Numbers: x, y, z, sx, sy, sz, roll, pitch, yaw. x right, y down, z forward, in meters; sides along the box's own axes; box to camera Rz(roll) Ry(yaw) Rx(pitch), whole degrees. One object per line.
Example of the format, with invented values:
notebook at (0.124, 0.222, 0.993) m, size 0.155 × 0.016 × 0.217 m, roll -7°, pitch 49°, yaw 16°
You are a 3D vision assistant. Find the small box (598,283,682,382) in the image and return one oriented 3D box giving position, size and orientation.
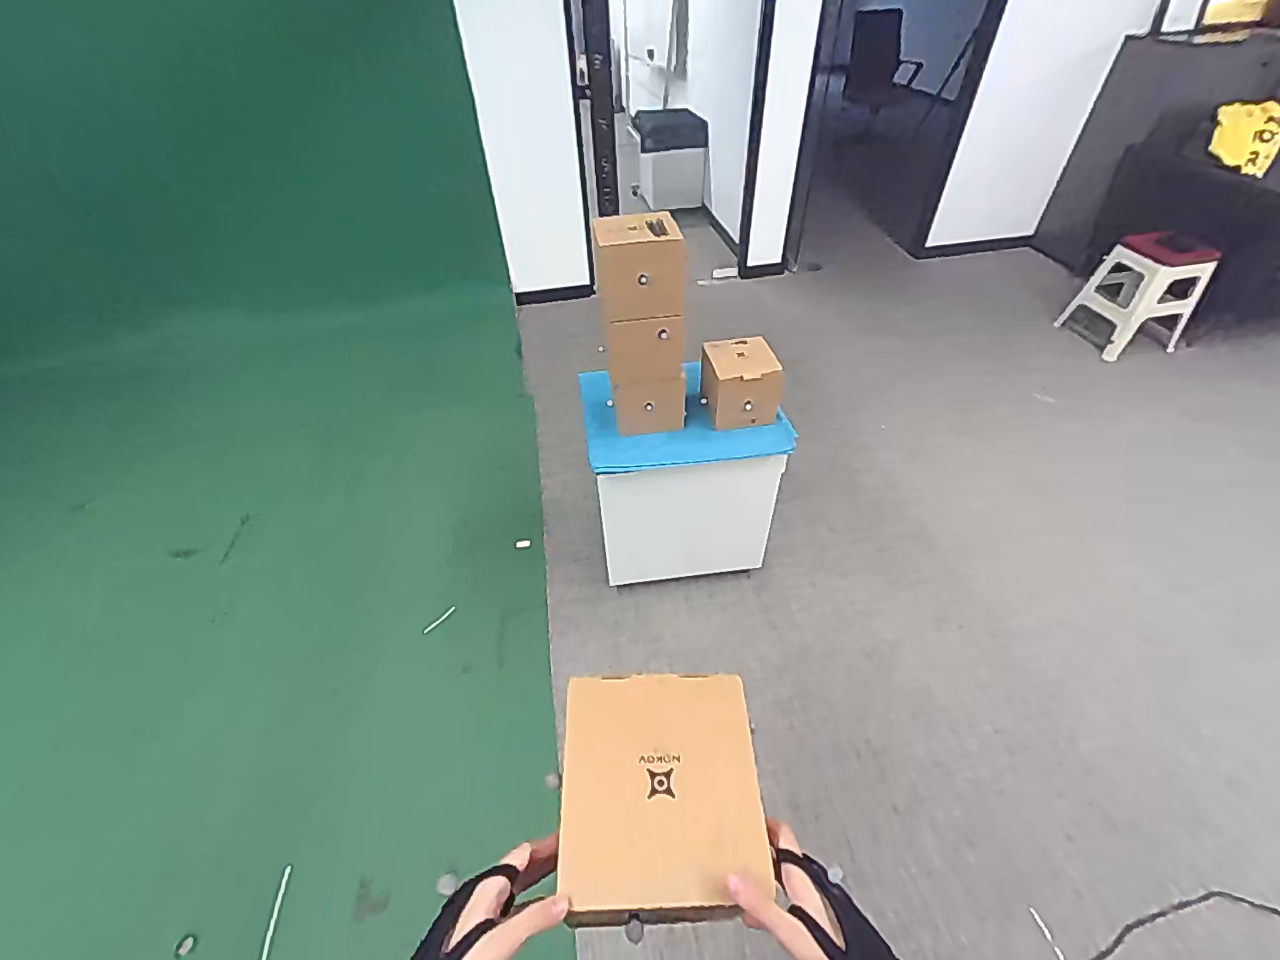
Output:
small box at (-0.002, -0.353, 1.298) m, size 0.179 × 0.176 × 0.168 m, roll -7°, pitch 44°, yaw -6°

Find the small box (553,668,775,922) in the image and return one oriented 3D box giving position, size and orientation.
small box at (0.014, 0.296, 0.505) m, size 0.168 × 0.176 × 0.179 m, roll 0°, pitch 46°, yaw -4°

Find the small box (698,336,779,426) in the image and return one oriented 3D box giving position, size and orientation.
small box at (0.253, -0.255, 1.425) m, size 0.168 × 0.176 × 0.179 m, roll -7°, pitch 45°, yaw -5°

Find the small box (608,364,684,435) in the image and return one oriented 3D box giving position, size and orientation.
small box at (0.010, -0.237, 1.415) m, size 0.179 × 0.176 × 0.168 m, roll -8°, pitch 44°, yaw -6°
